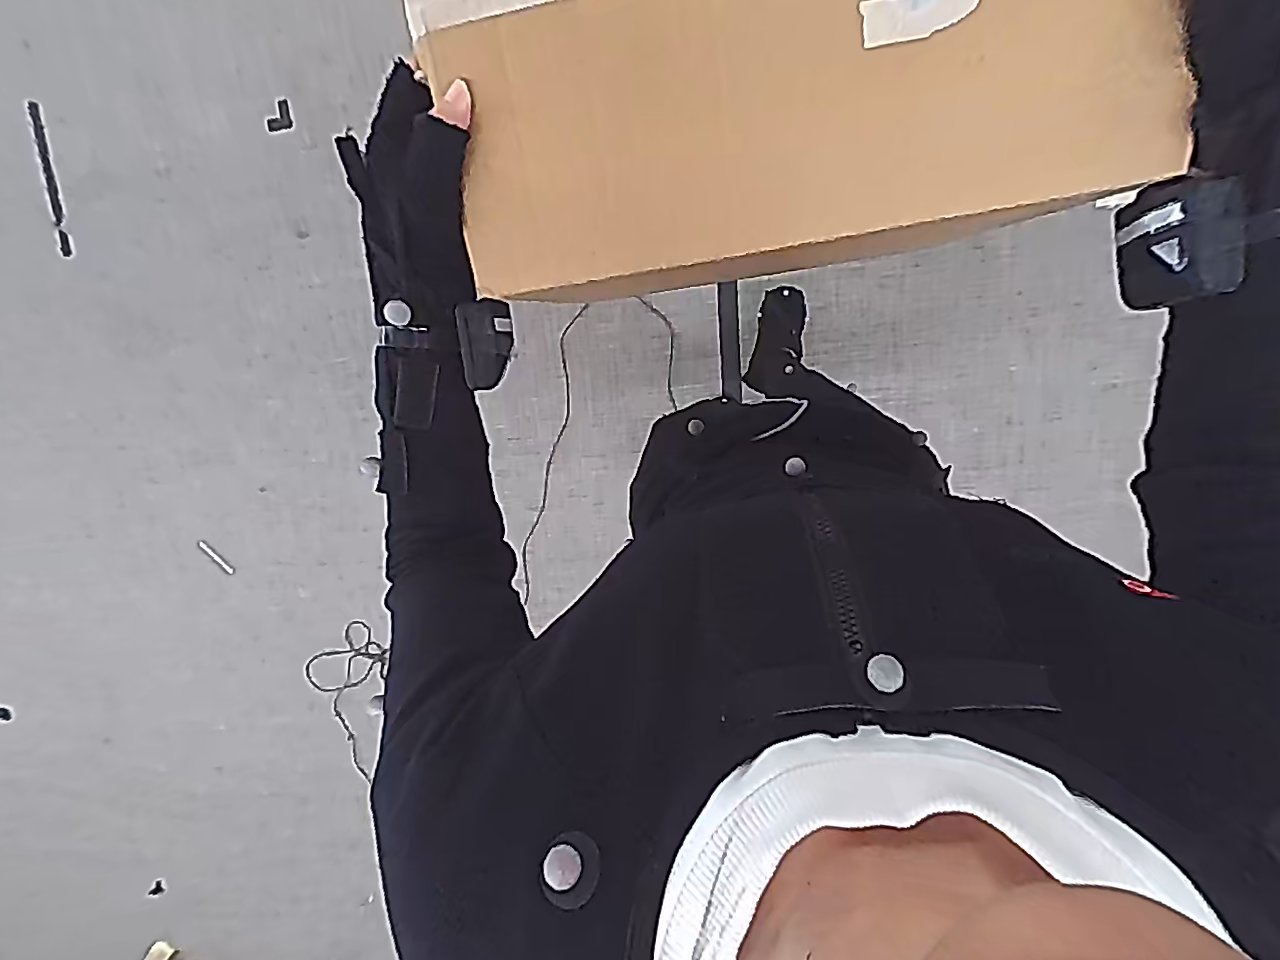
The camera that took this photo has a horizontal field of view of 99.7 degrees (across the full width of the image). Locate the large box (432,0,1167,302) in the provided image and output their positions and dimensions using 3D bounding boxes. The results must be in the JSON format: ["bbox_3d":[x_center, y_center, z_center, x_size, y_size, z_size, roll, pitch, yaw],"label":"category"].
[{"bbox_3d":[0.085,-0.341,0.437,0.408,0.320,0.320,-7,107,8],"label":"large box"}]
